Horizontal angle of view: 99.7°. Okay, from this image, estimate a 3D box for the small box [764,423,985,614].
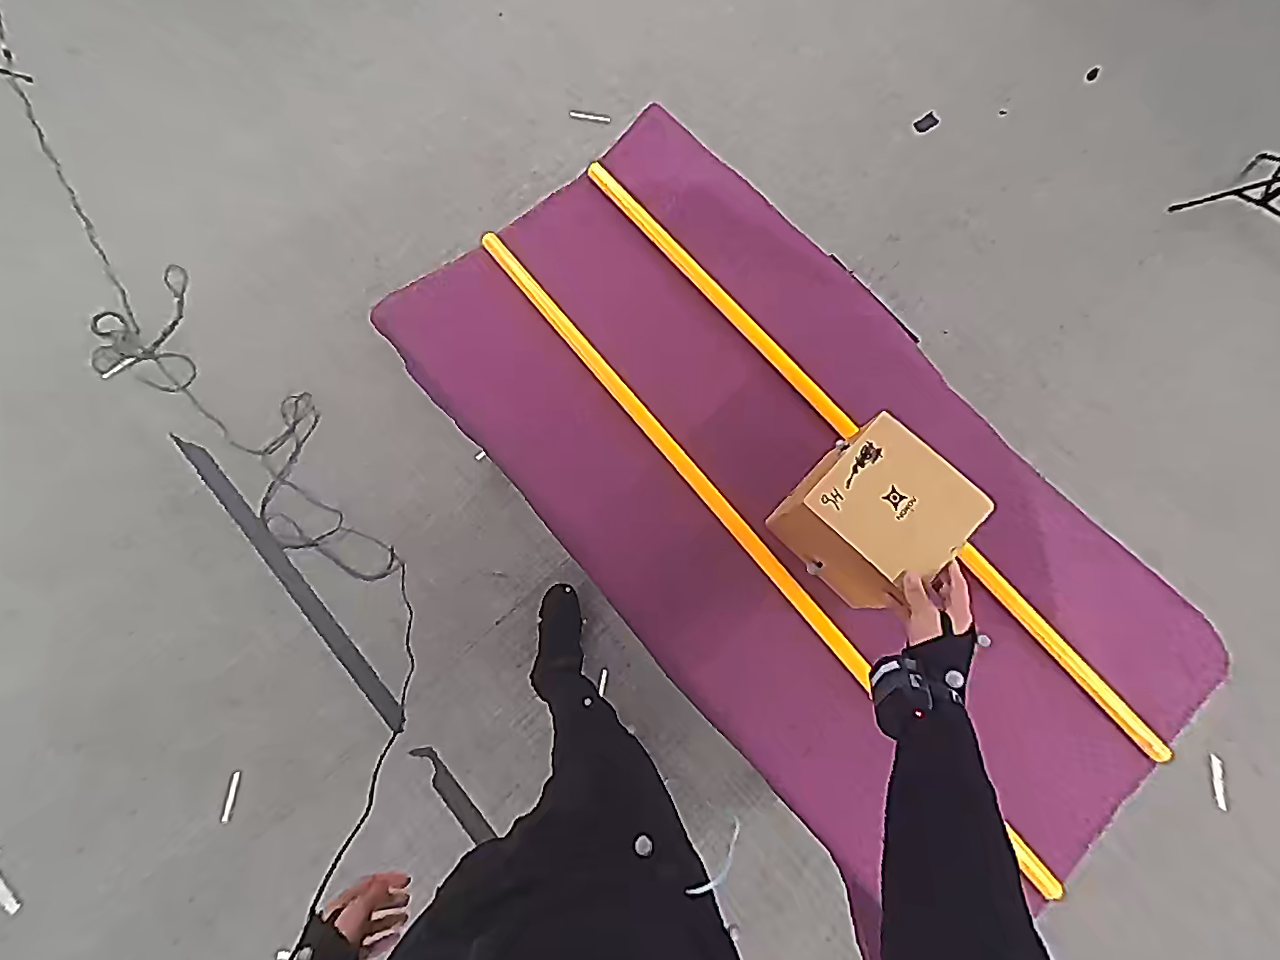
[{"bbox_3d":[0.299,0.058,0.727,0.179,0.176,0.168,44,78,7],"label":"small box"}]
